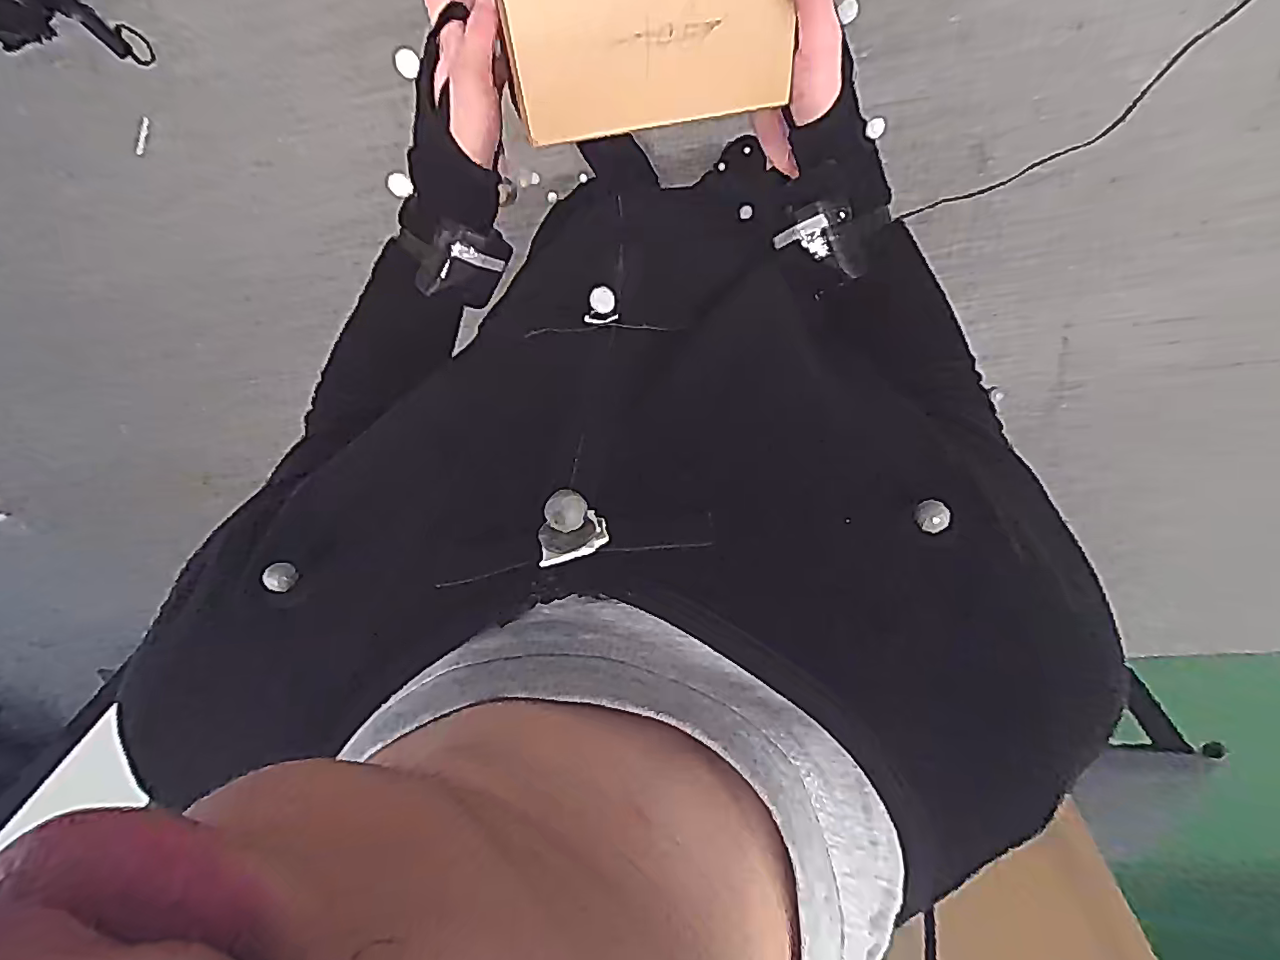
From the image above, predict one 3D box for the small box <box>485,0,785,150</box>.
[{"bbox_3d":[-0.017,-0.330,0.336,0.168,0.176,0.179,-12,134,-6],"label":"small box"}]
